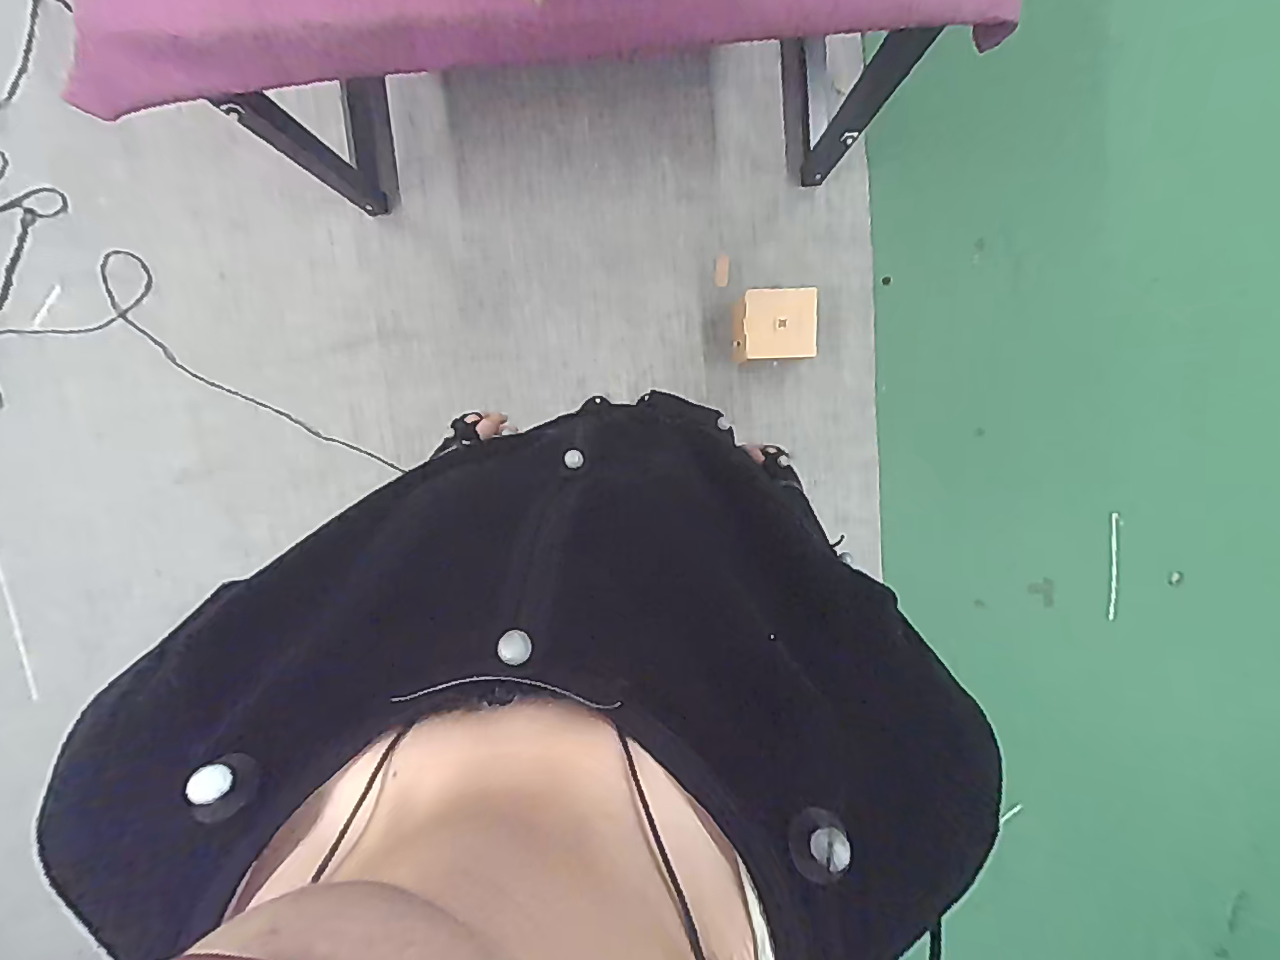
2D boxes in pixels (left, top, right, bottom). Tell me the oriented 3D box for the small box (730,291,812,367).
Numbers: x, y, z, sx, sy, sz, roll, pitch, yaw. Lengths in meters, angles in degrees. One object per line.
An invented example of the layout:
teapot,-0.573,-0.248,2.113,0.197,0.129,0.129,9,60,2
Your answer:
small box,0.328,-0.380,1.385,0.179,0.176,0.168,-2,98,-1
